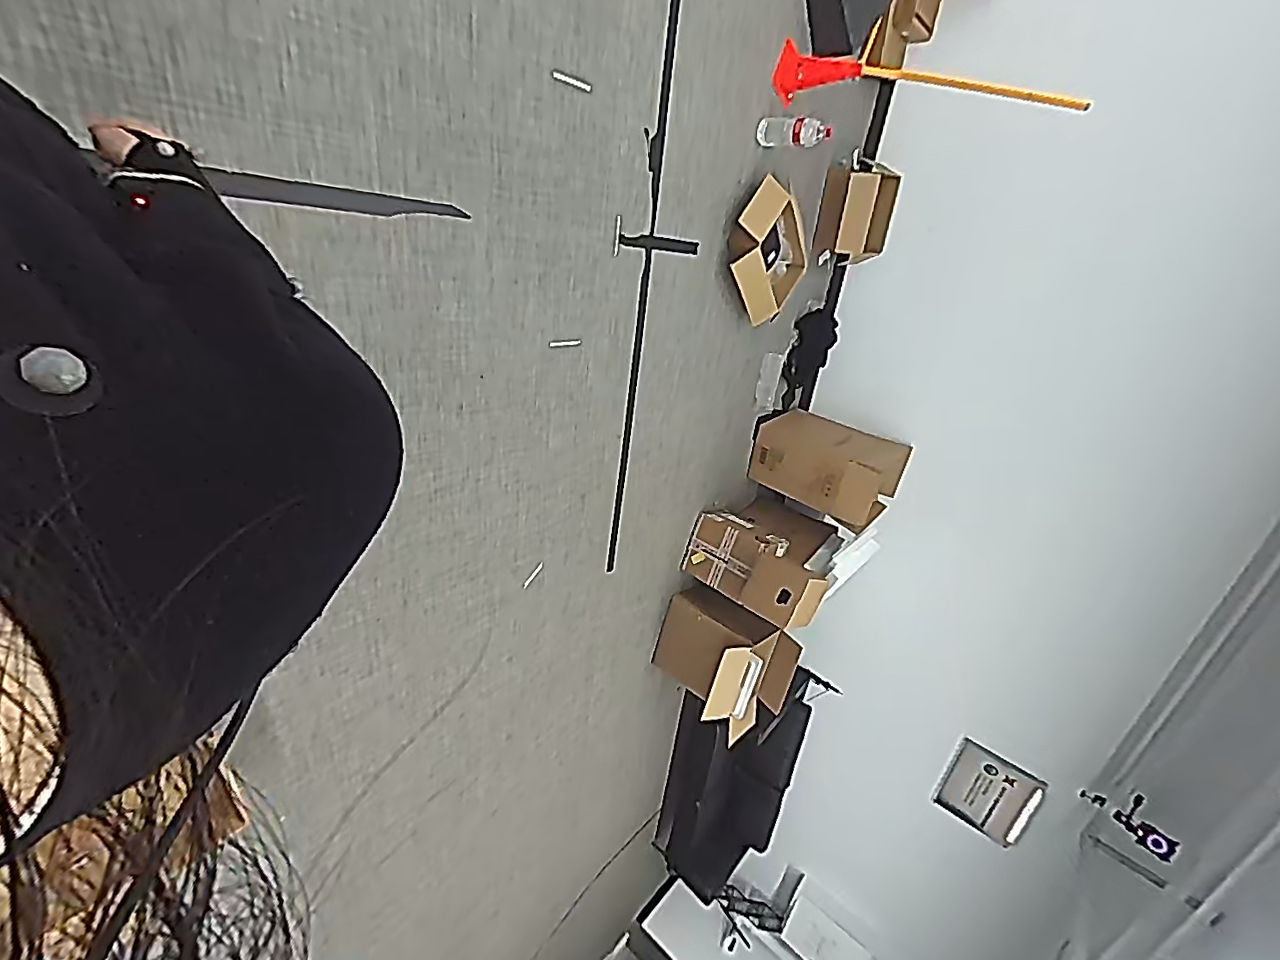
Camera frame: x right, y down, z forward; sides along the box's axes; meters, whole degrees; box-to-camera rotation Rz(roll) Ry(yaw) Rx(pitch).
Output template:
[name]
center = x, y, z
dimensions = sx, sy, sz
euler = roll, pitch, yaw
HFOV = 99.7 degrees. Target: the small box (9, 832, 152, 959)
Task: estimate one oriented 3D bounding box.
[small box]
center = -1.210, 0.919, 1.174
dimensions = 0.168, 0.176, 0.179
euler = -26, 131, -44
